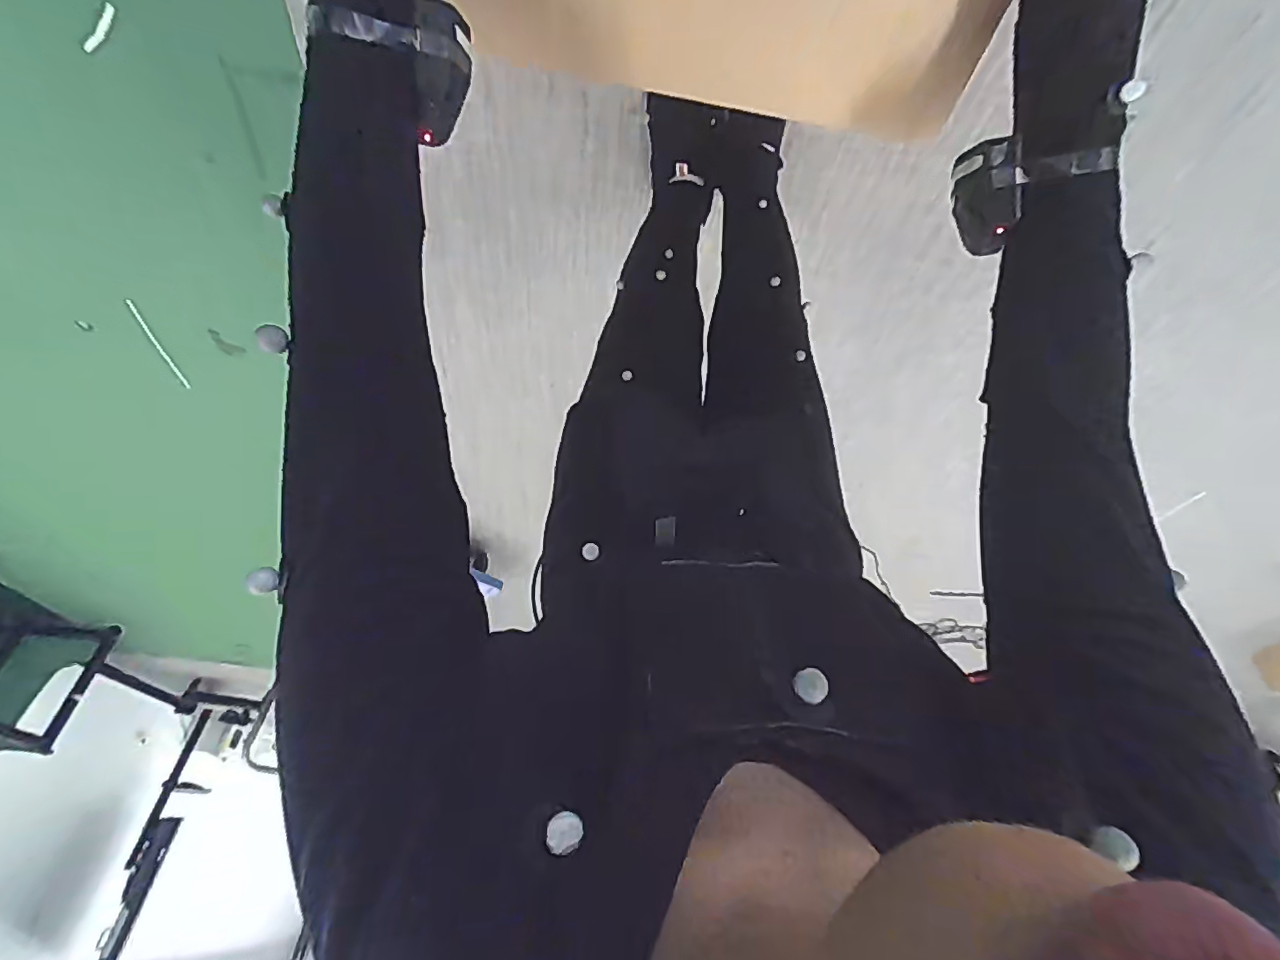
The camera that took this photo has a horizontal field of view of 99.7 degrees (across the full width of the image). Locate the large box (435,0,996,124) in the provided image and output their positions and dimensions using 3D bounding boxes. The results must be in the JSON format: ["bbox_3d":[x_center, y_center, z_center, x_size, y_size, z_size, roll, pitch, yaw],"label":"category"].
[{"bbox_3d":[0.070,-0.520,0.400,0.408,0.320,0.320,7,141,-5],"label":"large box"}]
